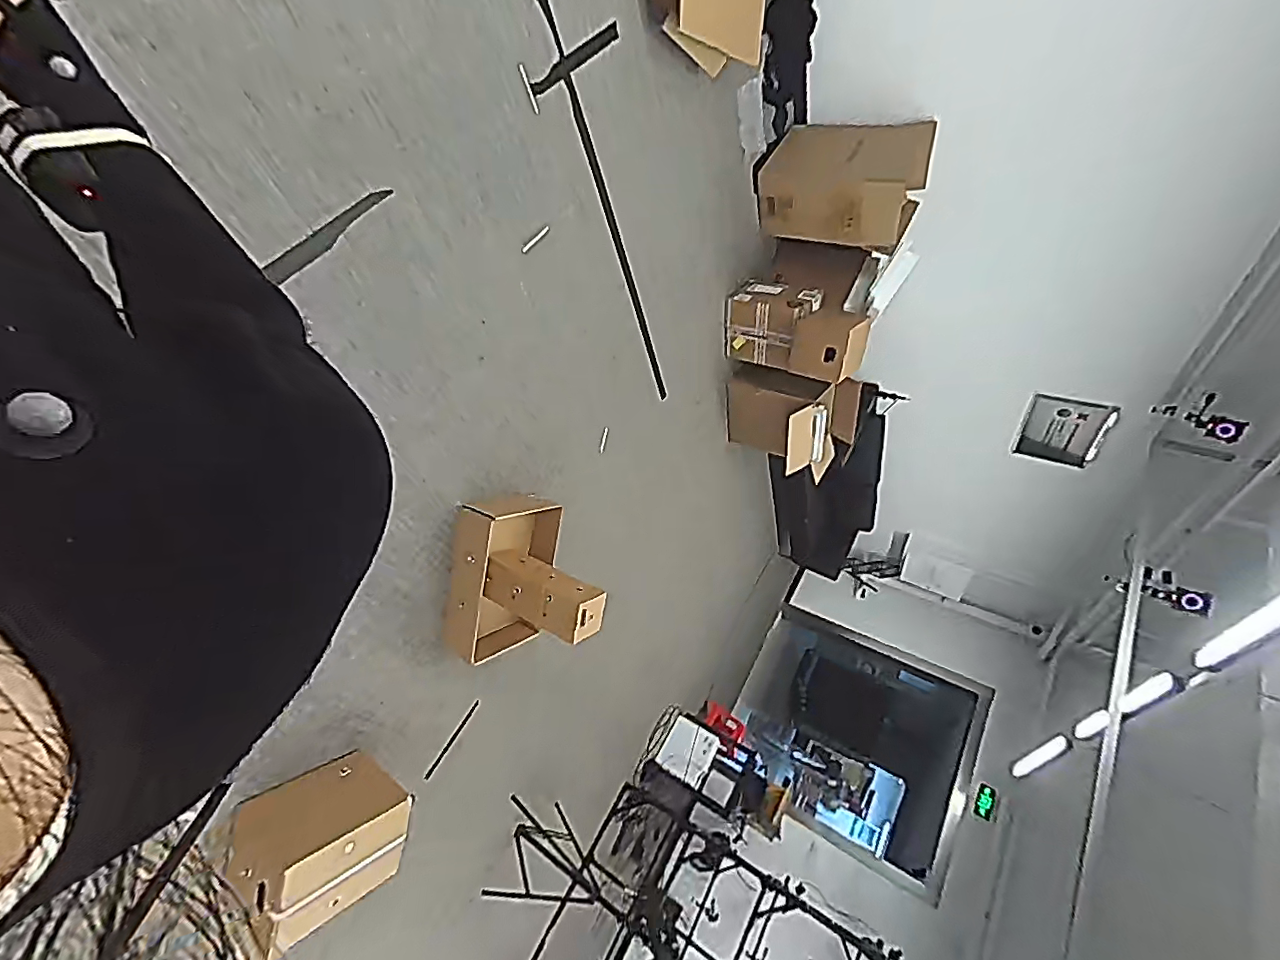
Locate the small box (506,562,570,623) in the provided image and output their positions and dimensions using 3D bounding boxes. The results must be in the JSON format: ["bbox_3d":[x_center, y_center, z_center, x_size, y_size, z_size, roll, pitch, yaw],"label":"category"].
[{"bbox_3d":[-0.396,0.433,2.119,0.179,0.176,0.168,-7,112,-58],"label":"small box"}]

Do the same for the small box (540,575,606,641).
[{"bbox_3d":[-0.257,0.478,2.044,0.179,0.176,0.168,-10,115,-59],"label":"small box"}]

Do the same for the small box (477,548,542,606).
[{"bbox_3d":[-0.531,0.386,2.196,0.179,0.176,0.168,-5,110,-59],"label":"small box"}]
